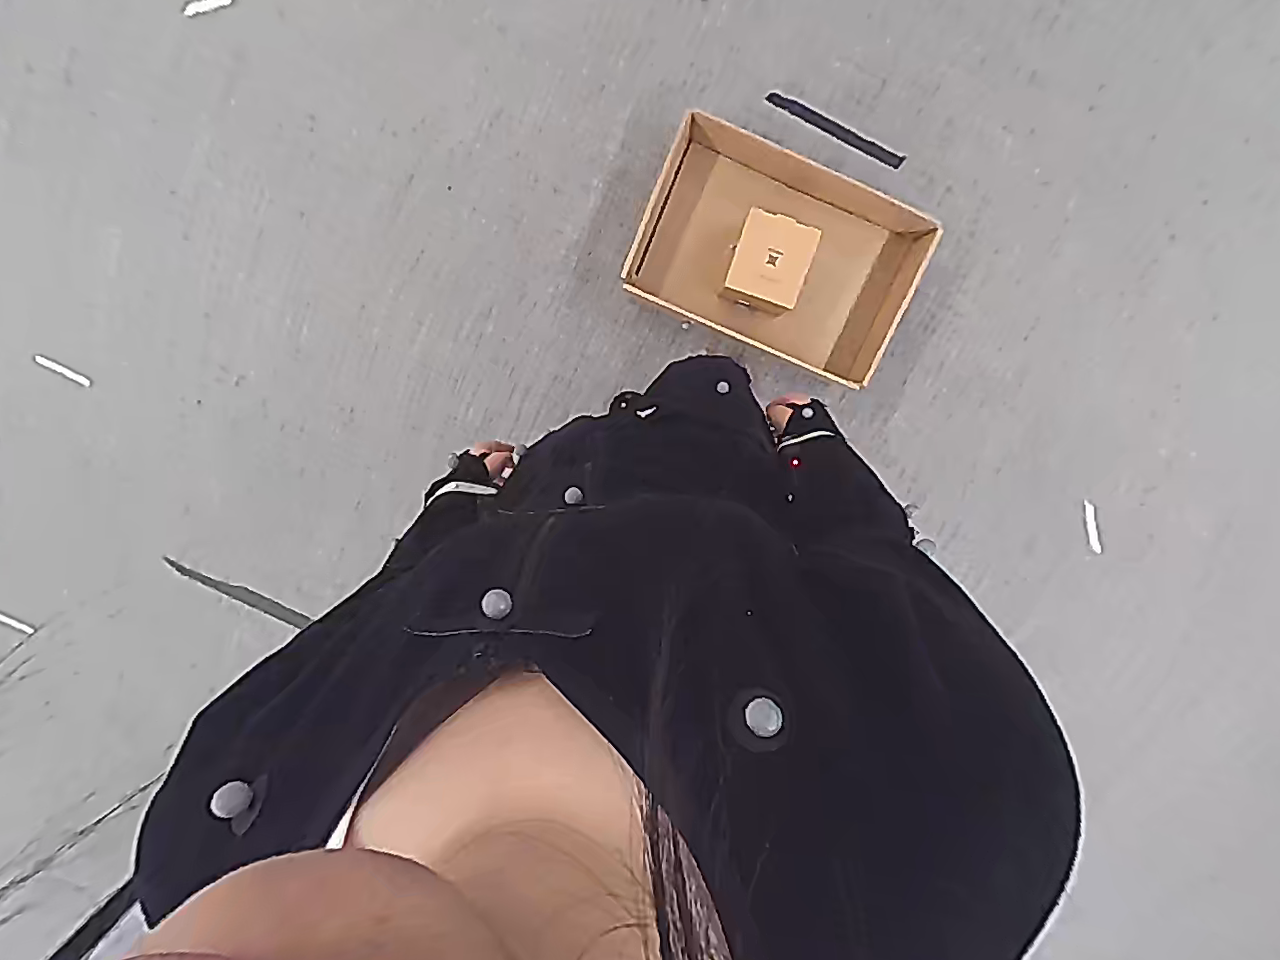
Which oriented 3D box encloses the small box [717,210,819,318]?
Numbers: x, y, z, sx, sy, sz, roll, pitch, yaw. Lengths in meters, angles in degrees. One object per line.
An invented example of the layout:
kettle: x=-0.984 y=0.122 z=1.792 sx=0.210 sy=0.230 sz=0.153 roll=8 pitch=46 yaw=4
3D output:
small box: x=0.288 y=-0.494 z=1.264 sx=0.168 sy=0.176 sz=0.179 roll=18 pitch=102 yaw=-2
